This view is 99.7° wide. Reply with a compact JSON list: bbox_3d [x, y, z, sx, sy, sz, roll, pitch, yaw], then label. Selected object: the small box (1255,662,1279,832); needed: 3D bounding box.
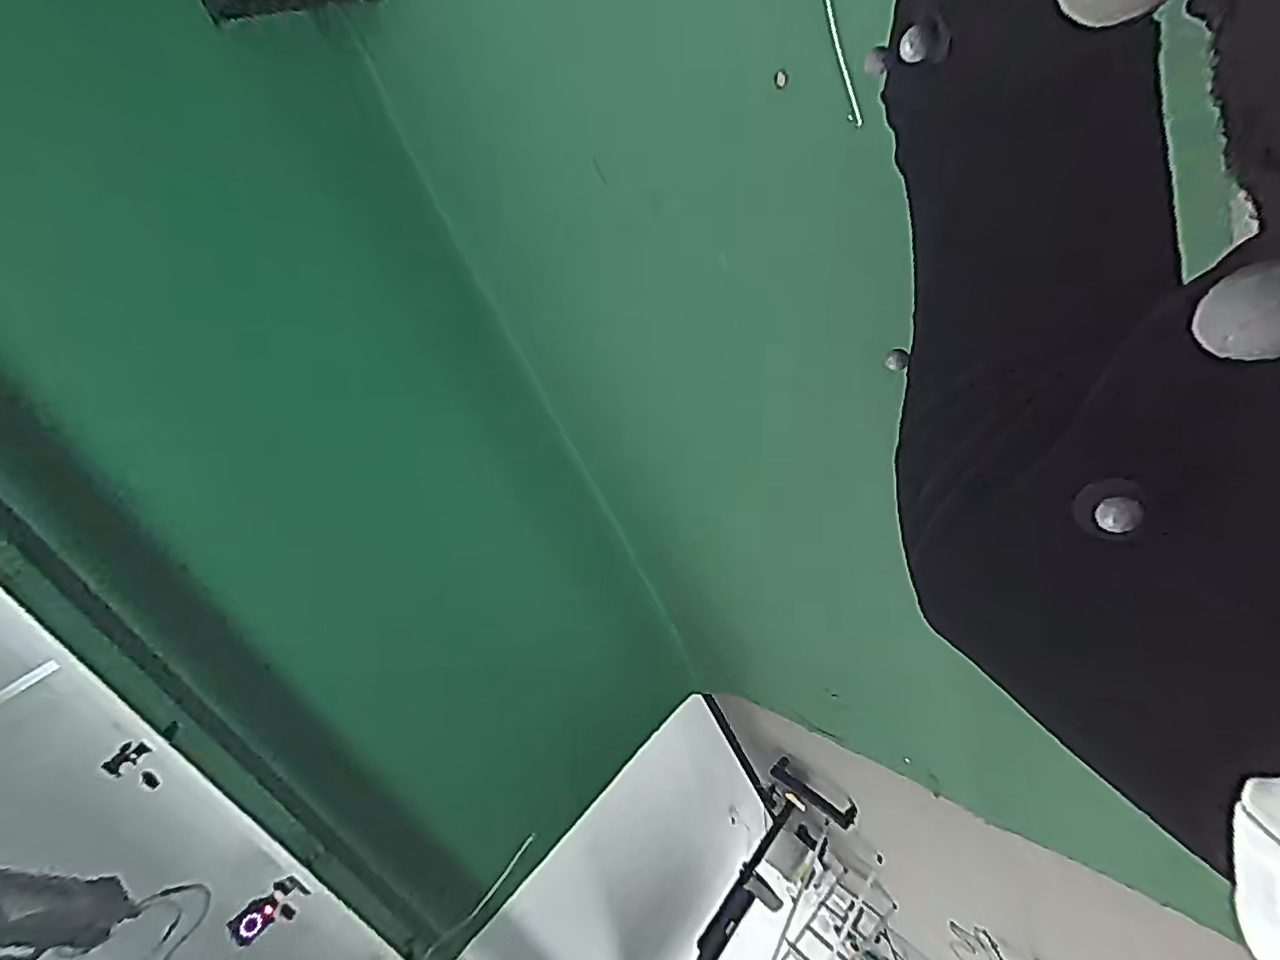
[{"bbox_3d":[0.952,0.379,0.717,0.168,0.176,0.179,0,124,53],"label":"small box"}]
